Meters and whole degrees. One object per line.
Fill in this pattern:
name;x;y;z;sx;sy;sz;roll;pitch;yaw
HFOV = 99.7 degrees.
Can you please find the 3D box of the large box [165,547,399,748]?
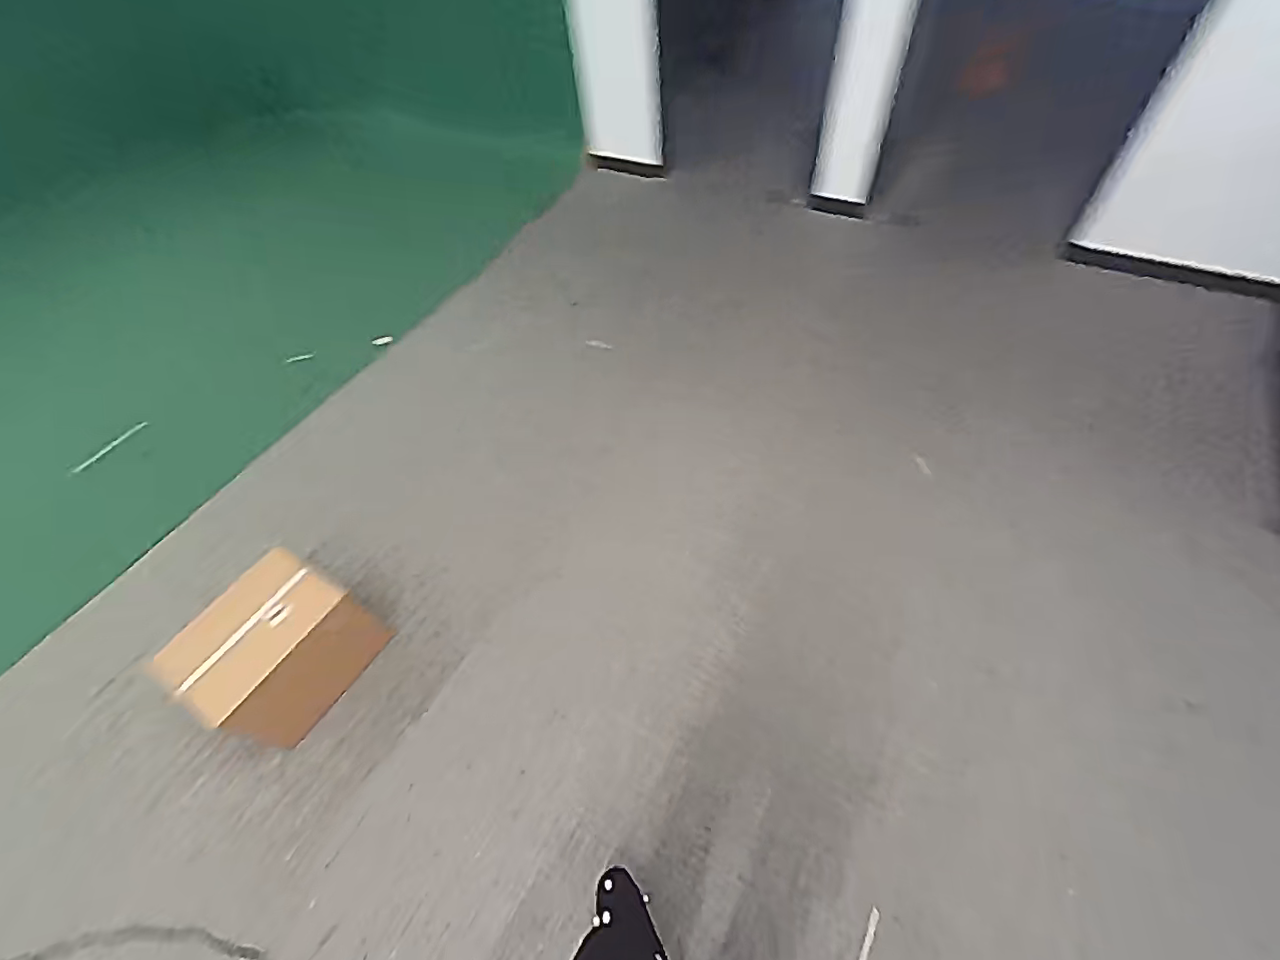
large box;-1.003;0.484;1.567;0.320;0.320;0.408;25;59;22
